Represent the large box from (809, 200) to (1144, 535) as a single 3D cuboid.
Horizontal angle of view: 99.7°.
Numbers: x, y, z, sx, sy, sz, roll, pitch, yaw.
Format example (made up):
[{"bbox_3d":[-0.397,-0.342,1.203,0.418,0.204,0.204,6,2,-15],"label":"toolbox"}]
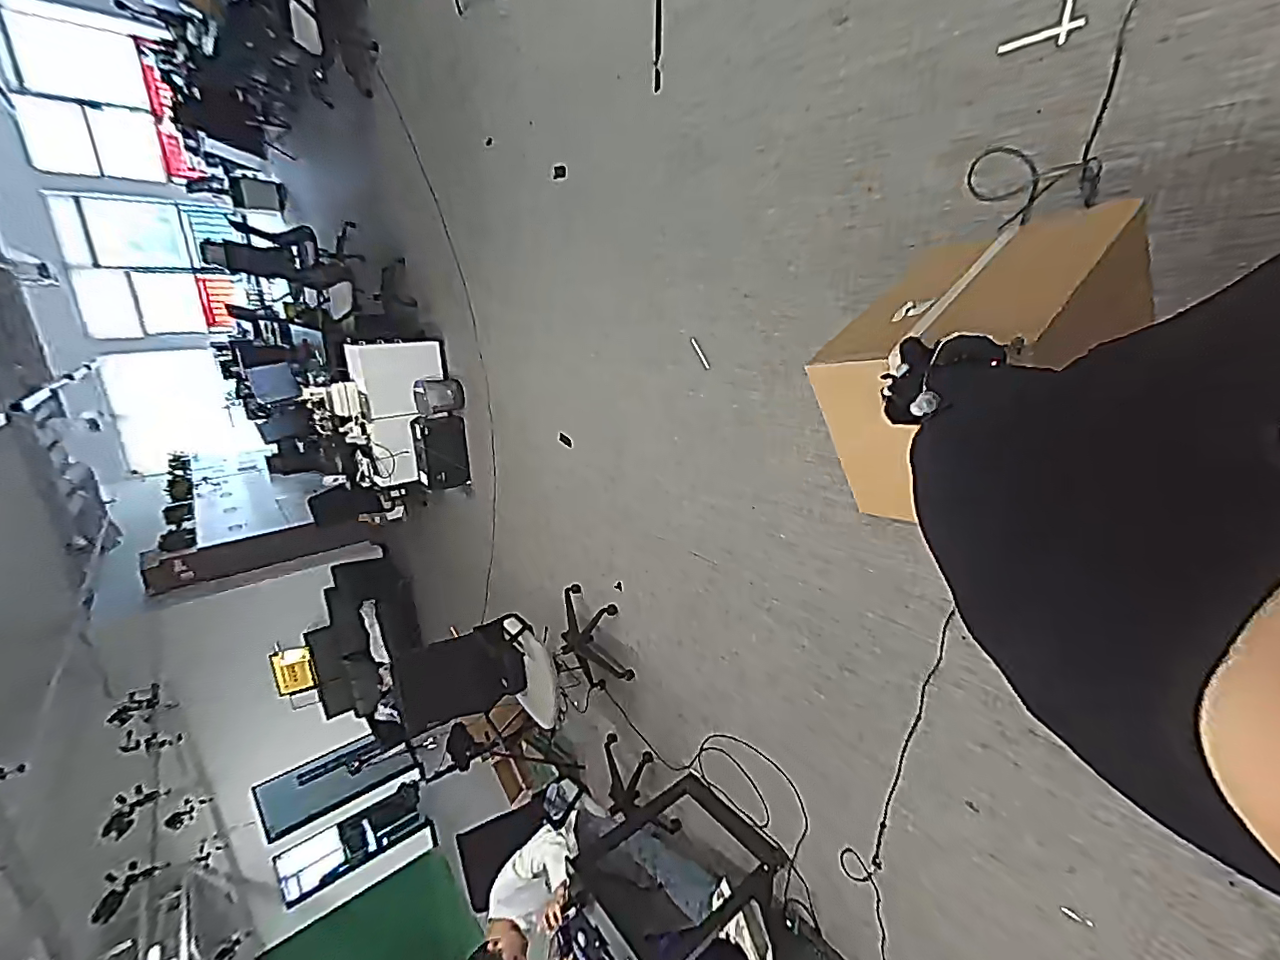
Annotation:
[{"bbox_3d":[0.554,-0.176,0.877,0.320,0.408,0.320,10,137,56],"label":"large box"}]
